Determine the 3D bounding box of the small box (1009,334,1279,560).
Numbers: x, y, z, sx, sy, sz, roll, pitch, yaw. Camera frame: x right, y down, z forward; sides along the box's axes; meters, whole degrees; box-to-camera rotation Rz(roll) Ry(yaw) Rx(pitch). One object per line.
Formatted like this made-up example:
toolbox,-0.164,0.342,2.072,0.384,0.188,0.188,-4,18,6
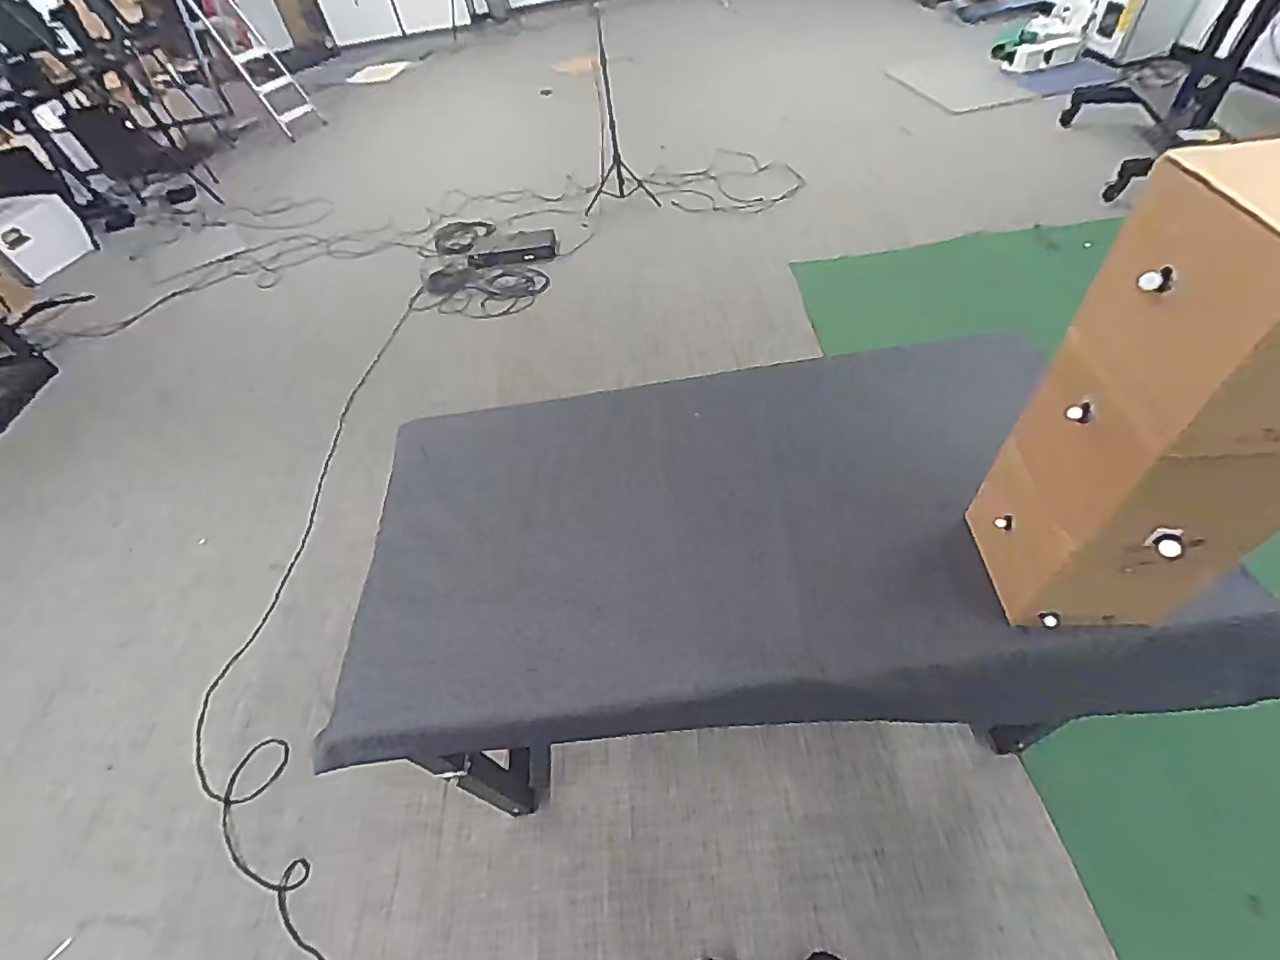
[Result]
small box,0.520,-0.035,0.556,0.168,0.176,0.179,-3,51,9

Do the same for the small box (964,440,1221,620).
small box,0.543,0.065,0.680,0.168,0.176,0.179,-2,49,7

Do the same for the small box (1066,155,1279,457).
small box,0.493,-0.138,0.430,0.168,0.176,0.179,-3,49,8
